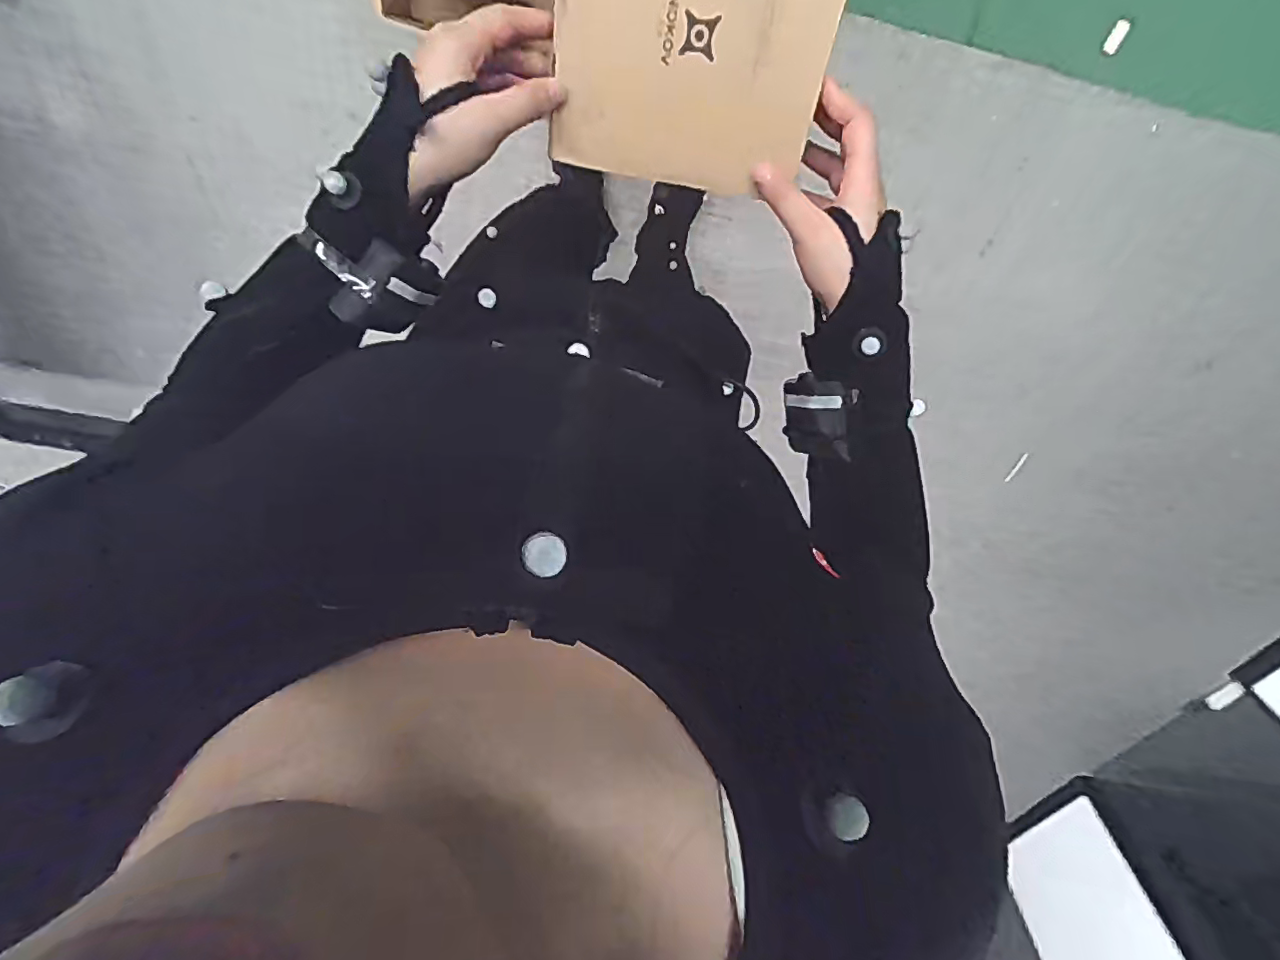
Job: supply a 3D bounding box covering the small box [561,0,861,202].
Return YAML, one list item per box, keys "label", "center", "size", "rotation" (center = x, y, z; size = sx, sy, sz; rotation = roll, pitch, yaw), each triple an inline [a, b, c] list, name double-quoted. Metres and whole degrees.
- label: "small box"
  center: [0.045, -0.318, 0.398]
  size: [0.179, 0.176, 0.168]
  rotation: [7, 125, -3]
